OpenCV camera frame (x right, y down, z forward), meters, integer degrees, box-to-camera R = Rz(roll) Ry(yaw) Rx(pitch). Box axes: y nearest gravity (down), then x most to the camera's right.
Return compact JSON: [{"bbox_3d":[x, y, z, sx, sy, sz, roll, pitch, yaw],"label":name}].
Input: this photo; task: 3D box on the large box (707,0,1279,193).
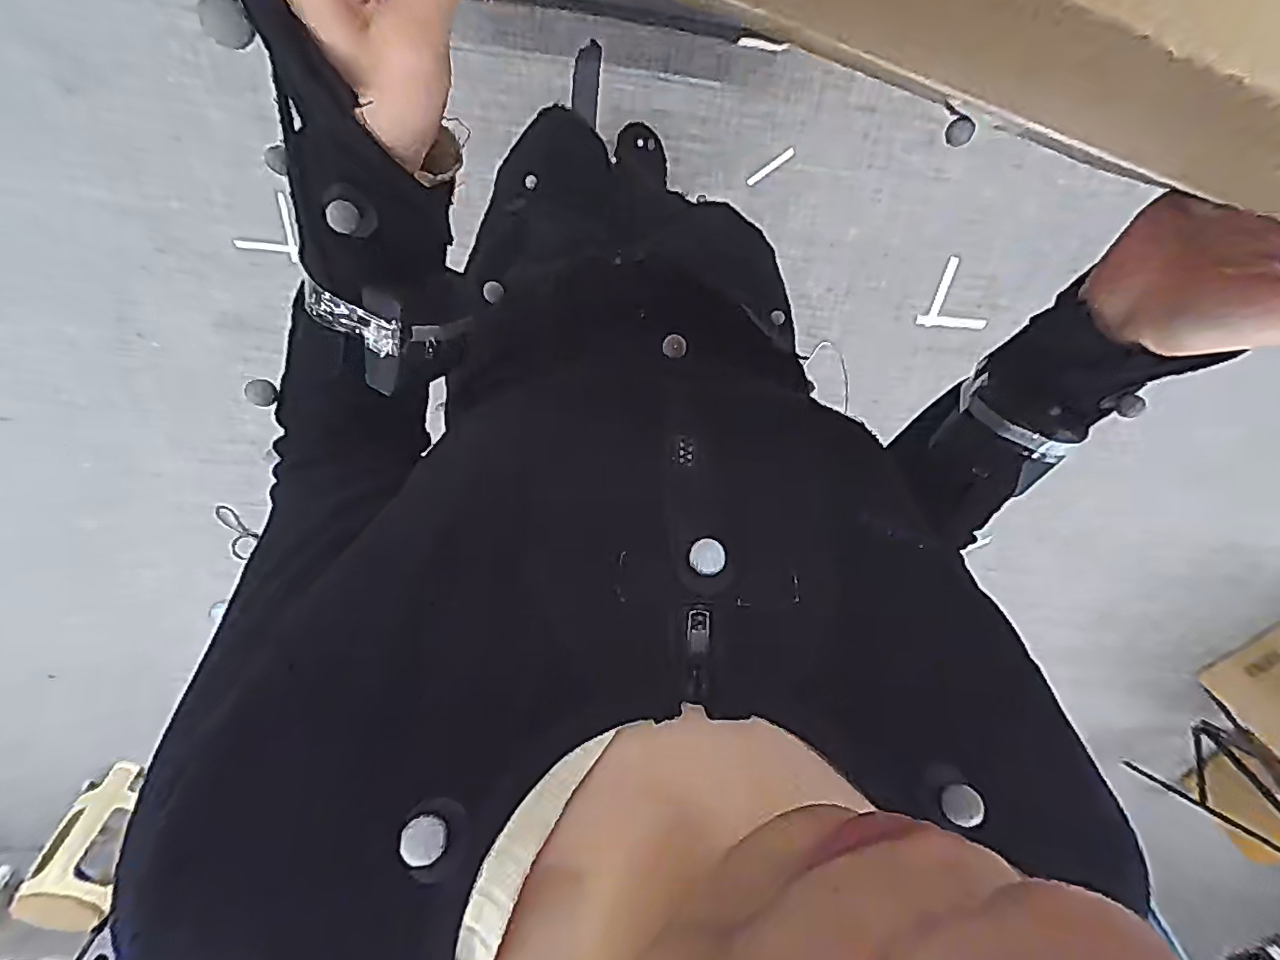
[{"bbox_3d":[0.125,-0.282,0.106,0.408,0.320,0.320,12,130,-9],"label":"large box"}]
